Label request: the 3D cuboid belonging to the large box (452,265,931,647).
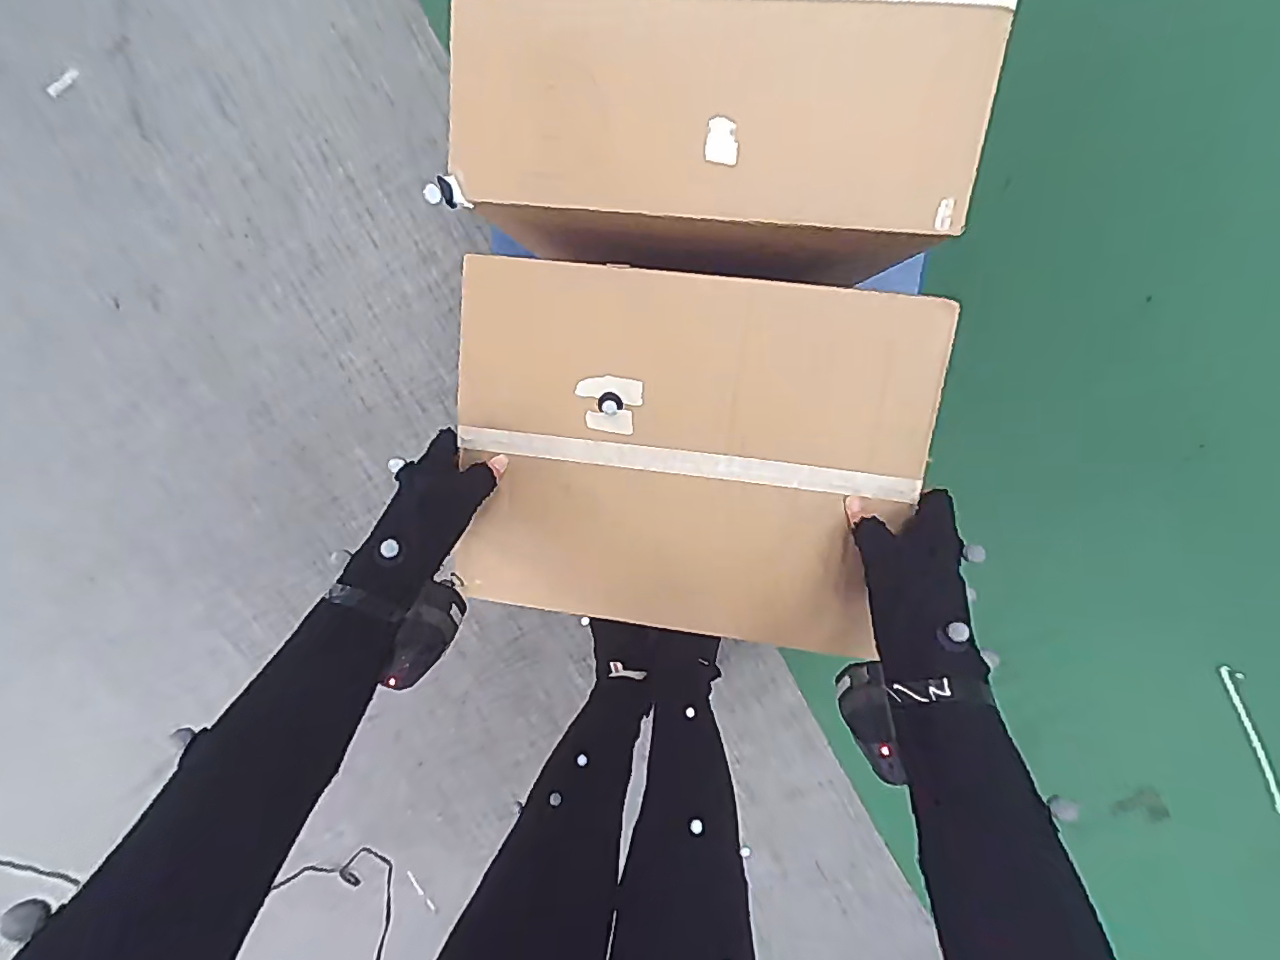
[{"bbox_3d":[0.045,-0.046,0.624,0.408,0.320,0.320,8,101,6],"label":"large box"}]
